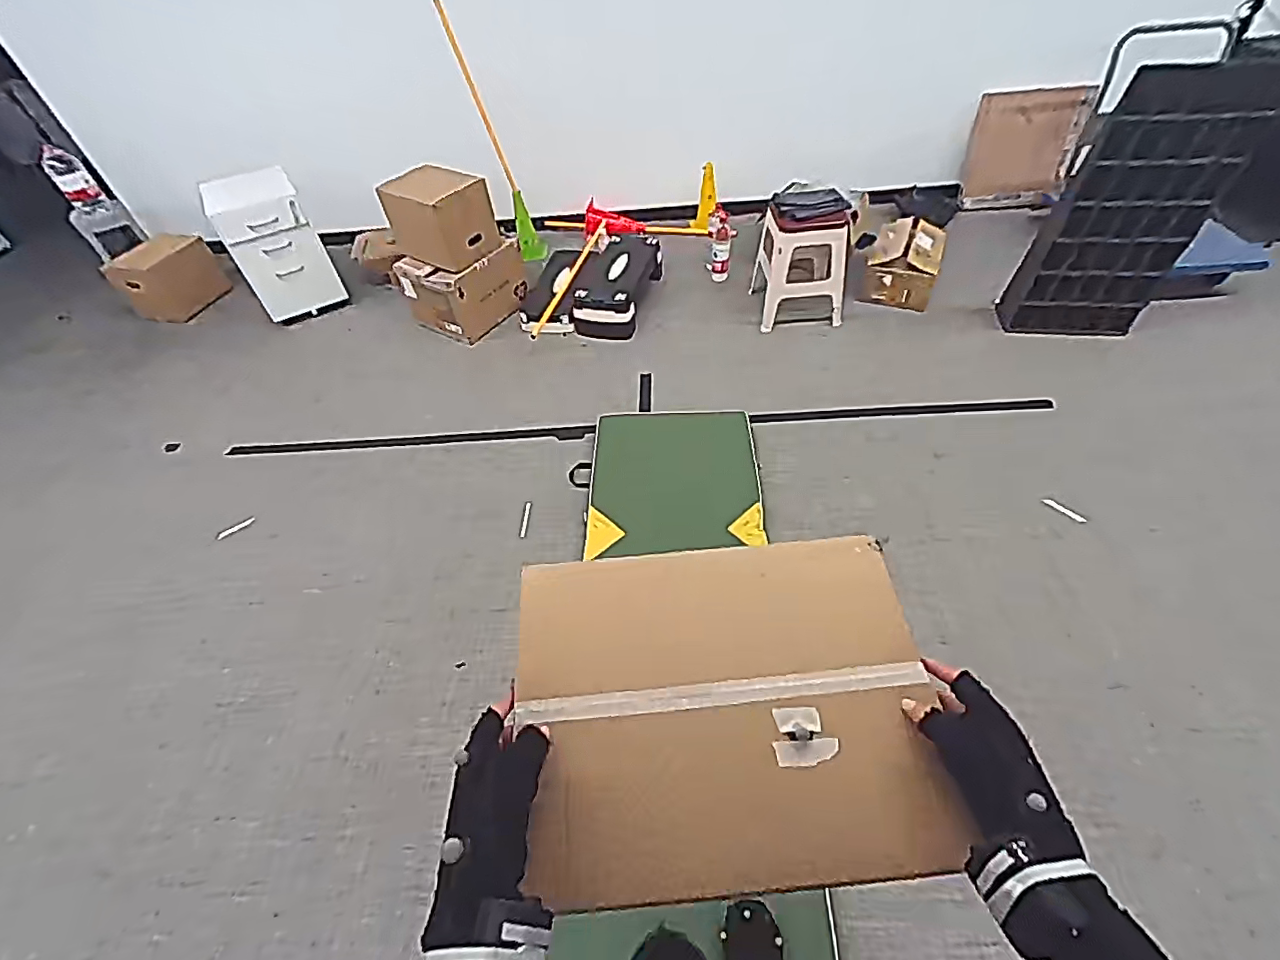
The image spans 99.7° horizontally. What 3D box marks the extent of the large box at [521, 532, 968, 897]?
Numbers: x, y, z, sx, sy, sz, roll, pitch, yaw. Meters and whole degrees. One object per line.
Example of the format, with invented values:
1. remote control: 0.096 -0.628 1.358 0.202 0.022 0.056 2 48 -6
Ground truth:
1. large box: 0.081 0.292 0.672 0.408 0.320 0.320 -5 56 -2
